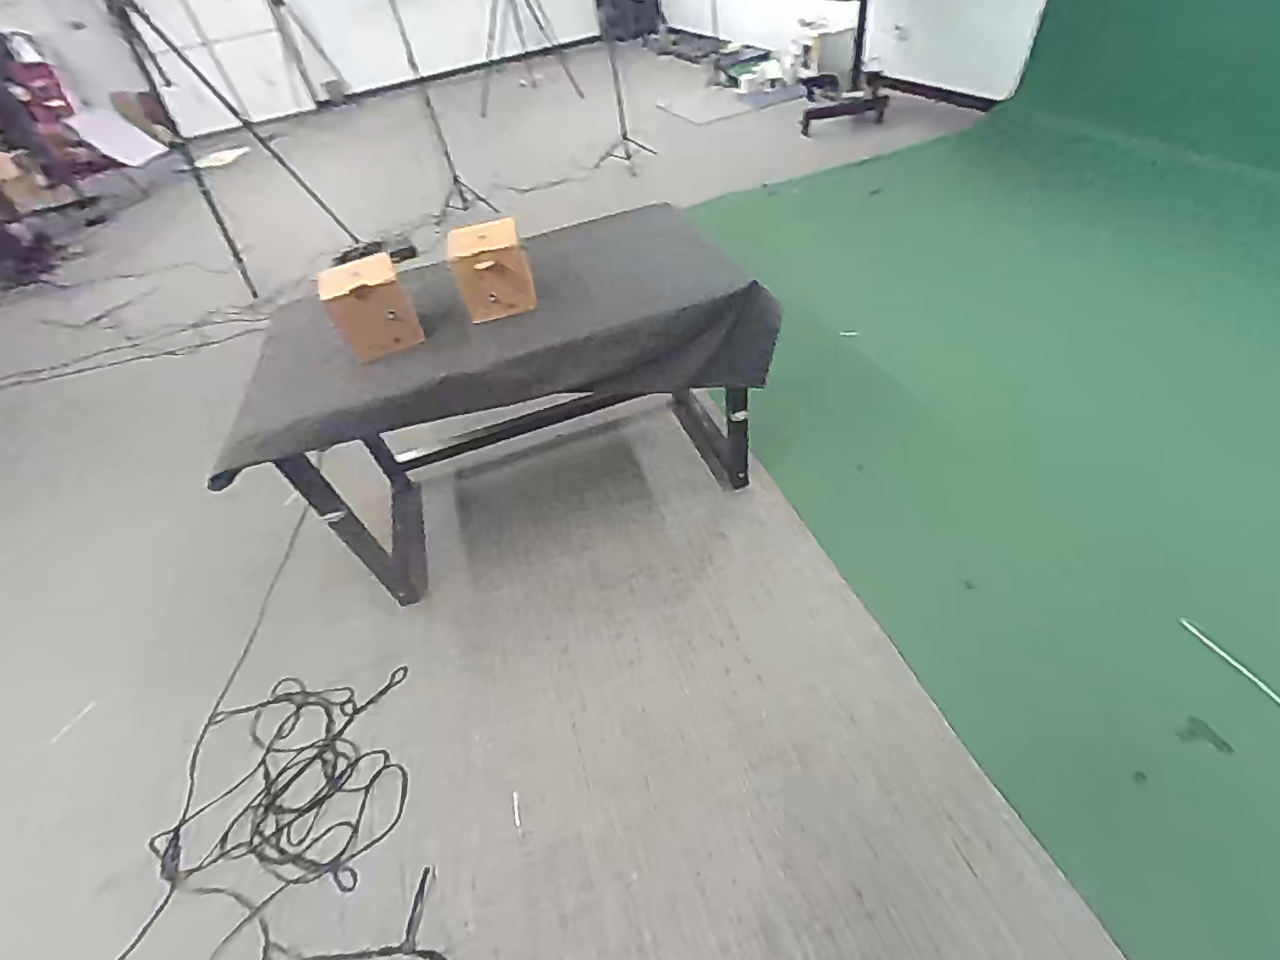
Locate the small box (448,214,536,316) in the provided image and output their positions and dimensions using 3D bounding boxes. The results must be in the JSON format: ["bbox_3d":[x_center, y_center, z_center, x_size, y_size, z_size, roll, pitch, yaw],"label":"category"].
[{"bbox_3d":[-0.360,-0.529,1.333,0.168,0.176,0.179,-14,46,-3],"label":"small box"}]

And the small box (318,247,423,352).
[{"bbox_3d":[-0.635,-0.423,1.282,0.168,0.176,0.179,-23,46,-13],"label":"small box"}]
